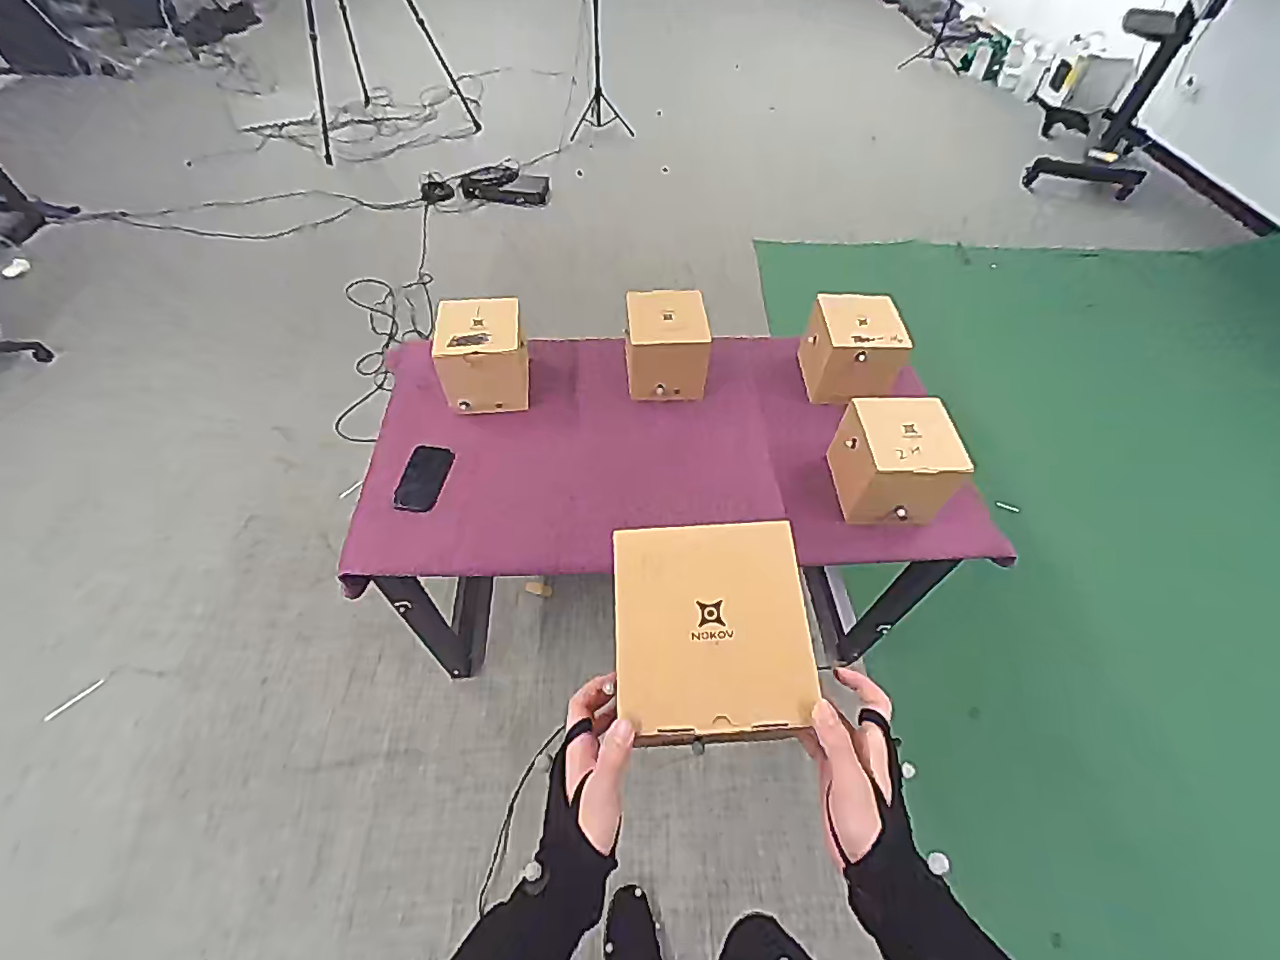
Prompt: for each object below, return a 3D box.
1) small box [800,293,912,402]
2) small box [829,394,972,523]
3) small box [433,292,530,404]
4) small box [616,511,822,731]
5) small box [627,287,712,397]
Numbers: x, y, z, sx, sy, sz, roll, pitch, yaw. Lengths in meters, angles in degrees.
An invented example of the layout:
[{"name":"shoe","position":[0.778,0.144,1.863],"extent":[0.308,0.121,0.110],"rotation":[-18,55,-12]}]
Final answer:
[{"name":"small box","position":[0.468,-0.293,1.203],"extent":[0.168,0.176,0.179],"rotation":[1,53,-1]},{"name":"small box","position":[0.471,-0.039,1.012],"extent":[0.168,0.176,0.179],"rotation":[0,54,-1]},{"name":"small box","position":[-0.328,-0.276,1.153],"extent":[0.168,0.176,0.179],"rotation":[-4,53,-6]},{"name":"small box","position":[0.061,0.145,0.532],"extent":[0.168,0.176,0.179],"rotation":[-3,63,0]},{"name":"small box","position":[0.057,-0.304,1.195],"extent":[0.168,0.176,0.179],"rotation":[-2,55,-3]}]
